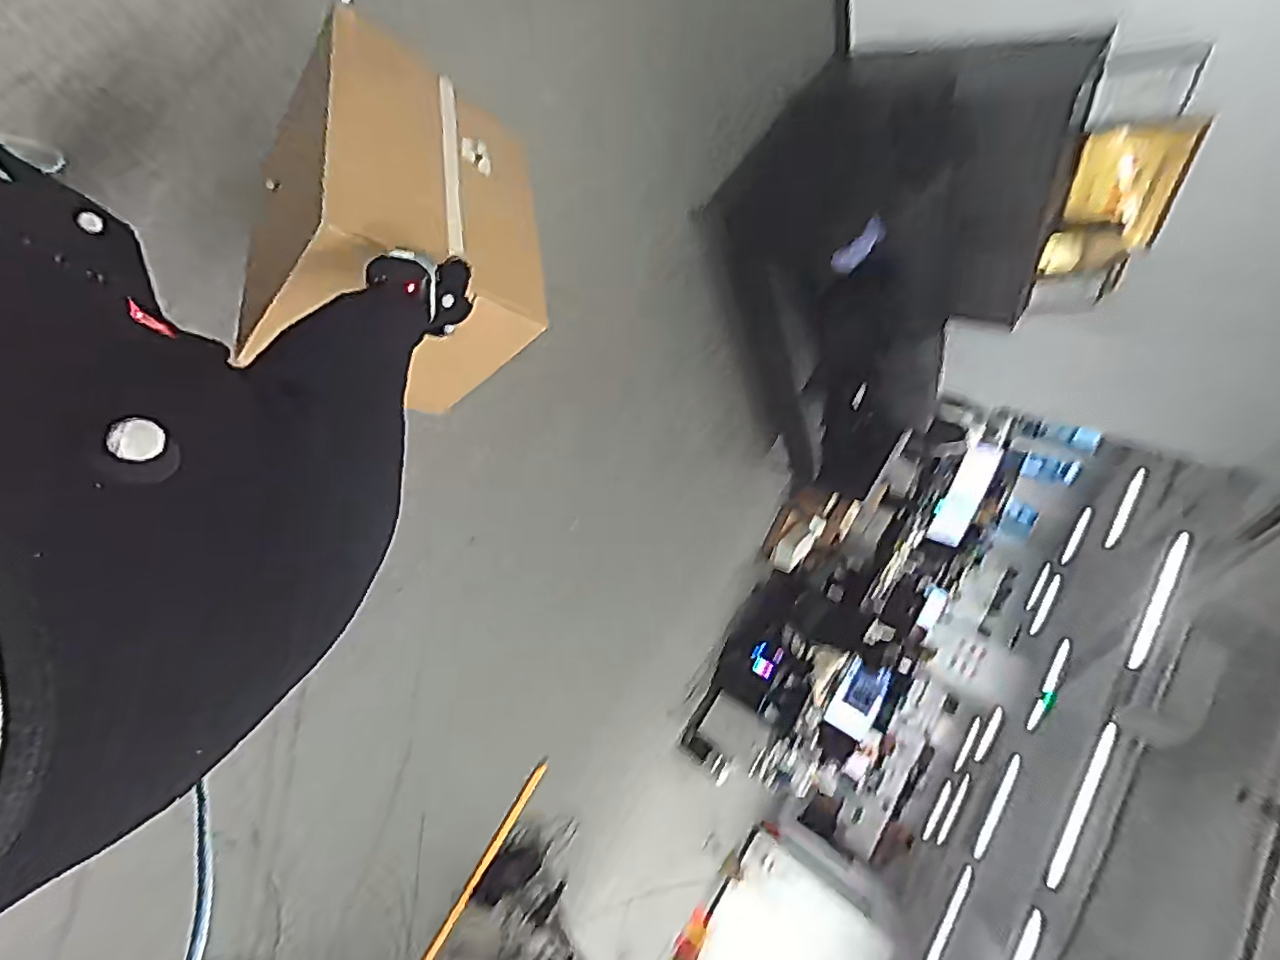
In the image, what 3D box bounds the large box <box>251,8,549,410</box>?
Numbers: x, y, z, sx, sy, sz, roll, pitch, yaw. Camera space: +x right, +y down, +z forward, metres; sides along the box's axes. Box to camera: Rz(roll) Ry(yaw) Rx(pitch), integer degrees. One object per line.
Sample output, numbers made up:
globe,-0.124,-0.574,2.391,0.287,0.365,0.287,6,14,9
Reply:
large box,-0.379,-0.378,0.855,0.320,0.320,0.408,15,57,-48
